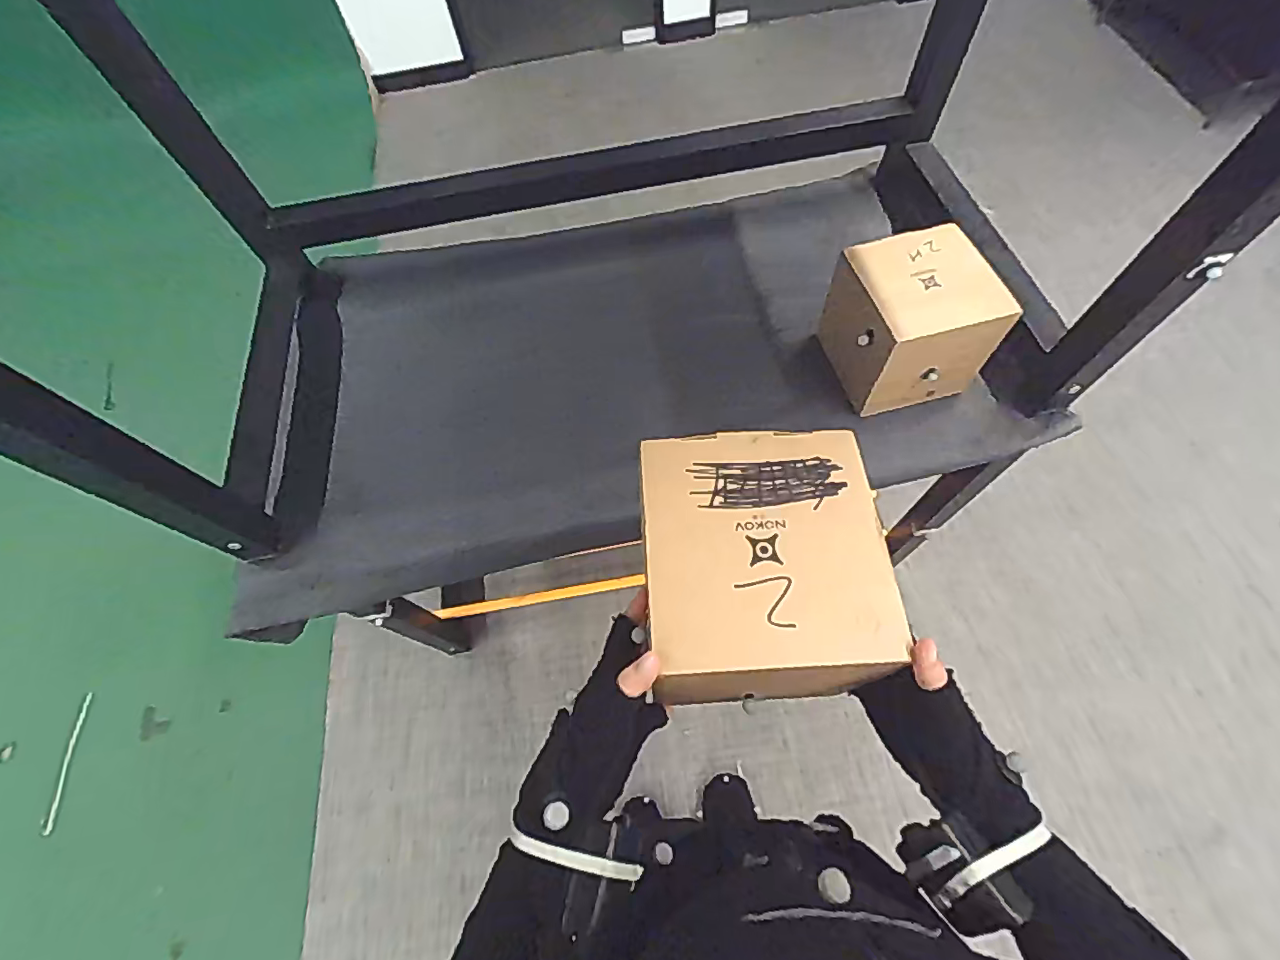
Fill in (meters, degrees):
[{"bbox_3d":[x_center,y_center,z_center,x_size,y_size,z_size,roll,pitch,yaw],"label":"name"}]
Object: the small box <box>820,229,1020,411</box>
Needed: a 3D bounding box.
[{"bbox_3d":[0.380,-0.216,0.774,0.168,0.176,0.179,-14,62,-3],"label":"small box"}]
